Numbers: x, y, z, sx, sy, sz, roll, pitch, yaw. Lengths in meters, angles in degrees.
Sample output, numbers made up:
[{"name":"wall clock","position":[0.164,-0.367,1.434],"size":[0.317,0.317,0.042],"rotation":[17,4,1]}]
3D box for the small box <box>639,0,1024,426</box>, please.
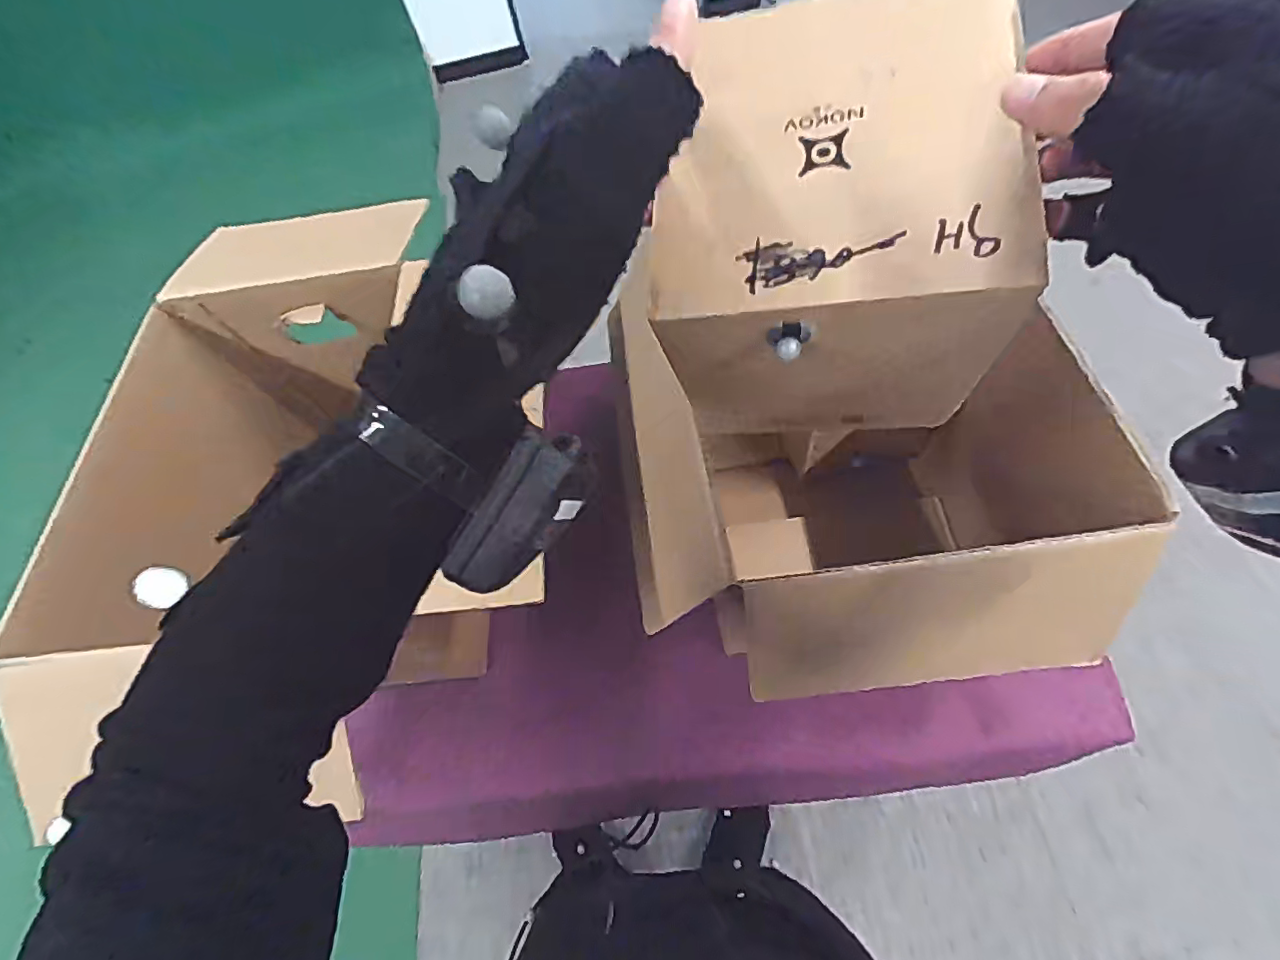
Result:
[{"name":"small box","position":[0.105,-0.145,0.335],"size":[0.168,0.176,0.179],"rotation":[0,76,16]}]
